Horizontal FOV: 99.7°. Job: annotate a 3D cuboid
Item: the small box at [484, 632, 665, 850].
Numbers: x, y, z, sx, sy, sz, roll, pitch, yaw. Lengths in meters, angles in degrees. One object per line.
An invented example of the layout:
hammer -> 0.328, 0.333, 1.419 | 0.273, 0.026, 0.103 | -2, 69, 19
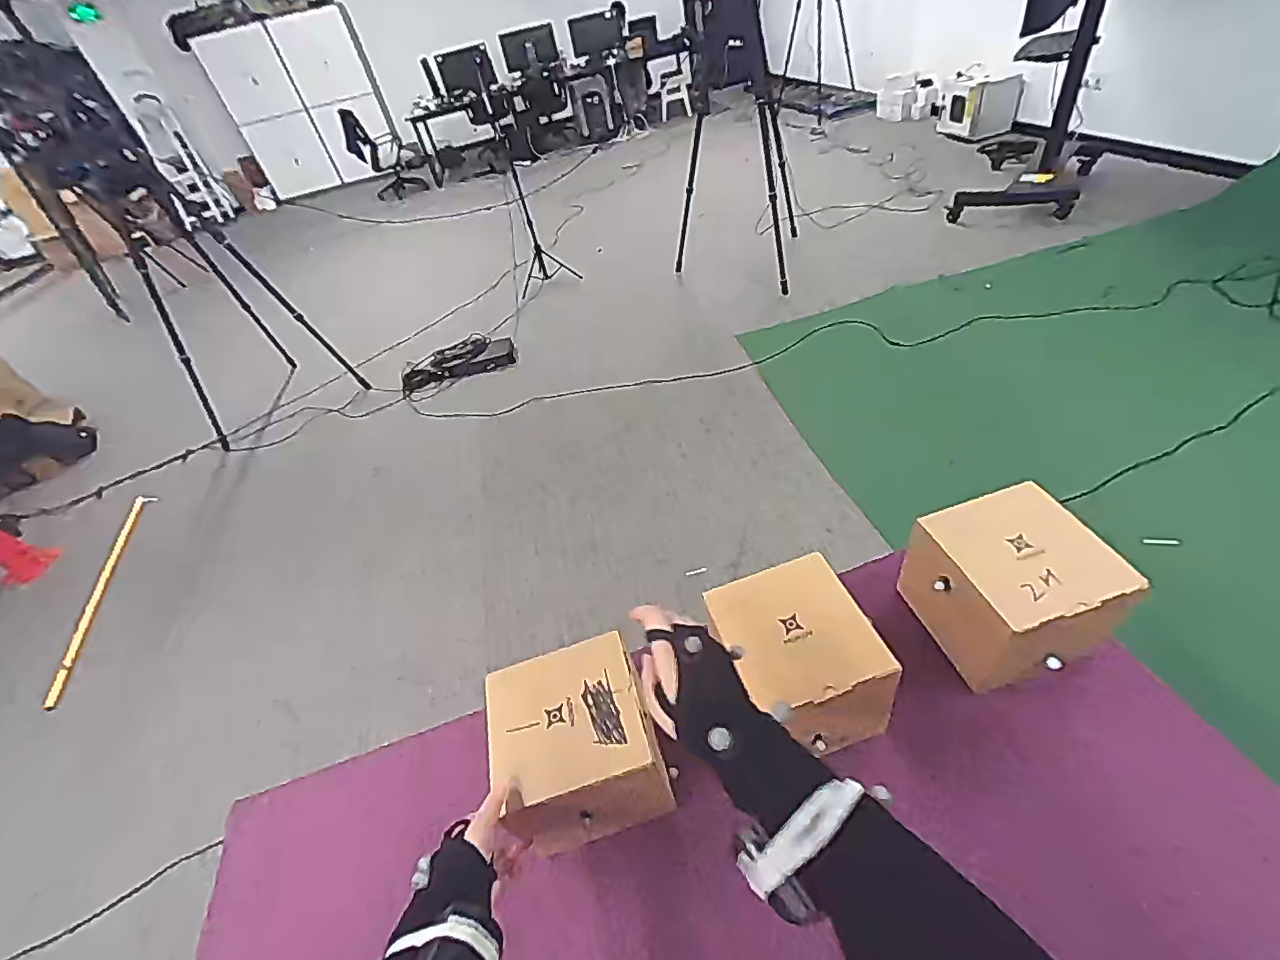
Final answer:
small box -> -0.075, 0.321, 0.665 | 0.179, 0.176, 0.168 | -18, 43, -3

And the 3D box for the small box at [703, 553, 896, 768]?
small box -> 0.190, 0.229, 0.690 | 0.168, 0.176, 0.179 | -19, 44, -4

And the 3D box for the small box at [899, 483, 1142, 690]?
small box -> 0.465, 0.138, 0.701 | 0.168, 0.176, 0.179 | -18, 45, -2
